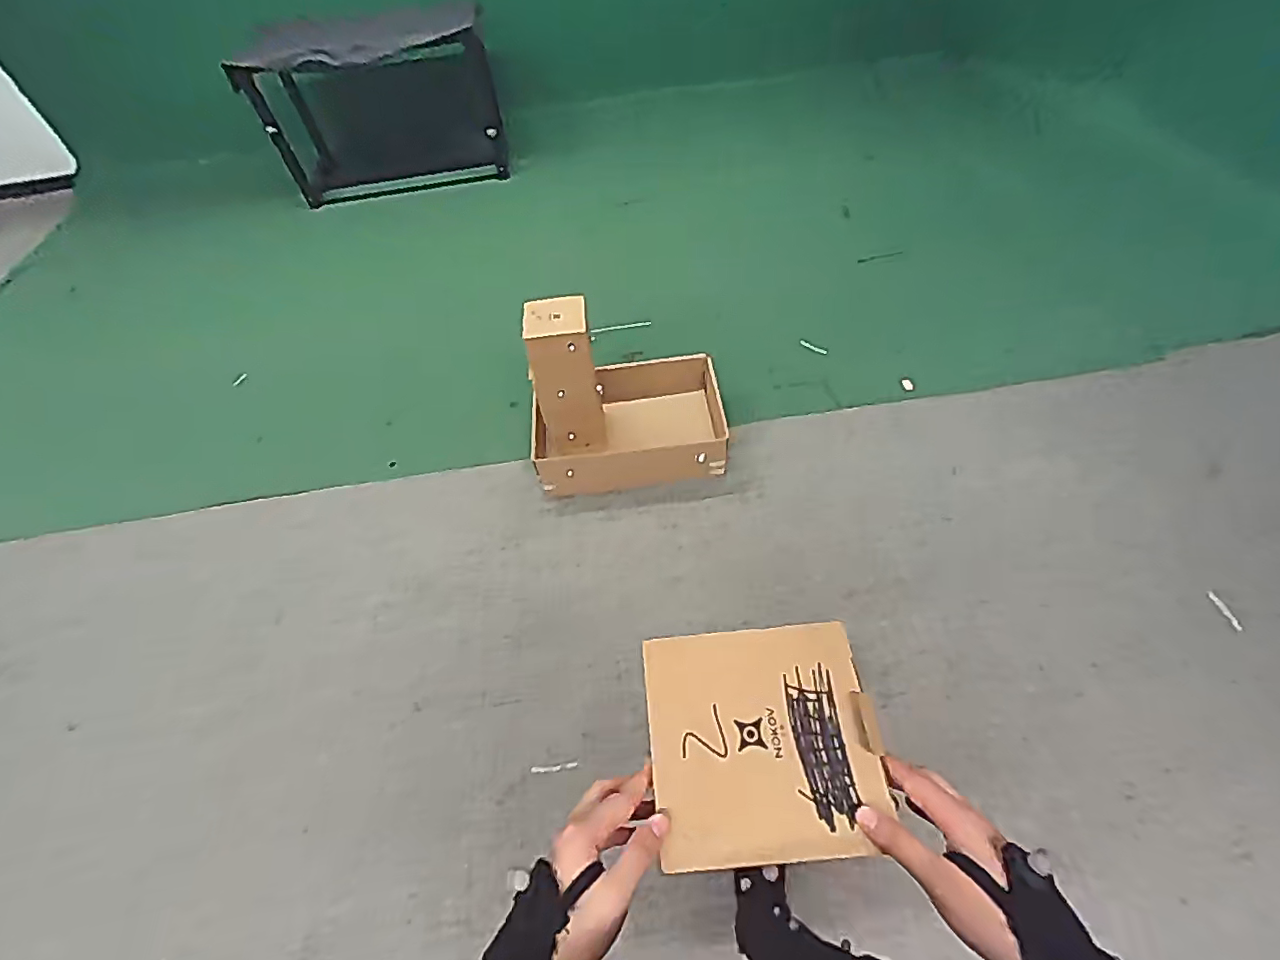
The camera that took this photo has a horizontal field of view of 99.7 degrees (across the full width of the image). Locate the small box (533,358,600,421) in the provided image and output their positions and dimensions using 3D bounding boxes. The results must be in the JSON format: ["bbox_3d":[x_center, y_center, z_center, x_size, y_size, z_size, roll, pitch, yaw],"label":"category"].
[{"bbox_3d":[-0.226,-0.300,1.686,0.179,0.176,0.168,-6,54,0],"label":"small box"}]

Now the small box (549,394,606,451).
[{"bbox_3d":[-0.209,-0.212,1.823,0.168,0.176,0.179,-7,54,0],"label":"small box"}]

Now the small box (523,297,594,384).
[{"bbox_3d":[-0.227,-0.396,1.551,0.179,0.176,0.168,-7,53,0],"label":"small box"}]
